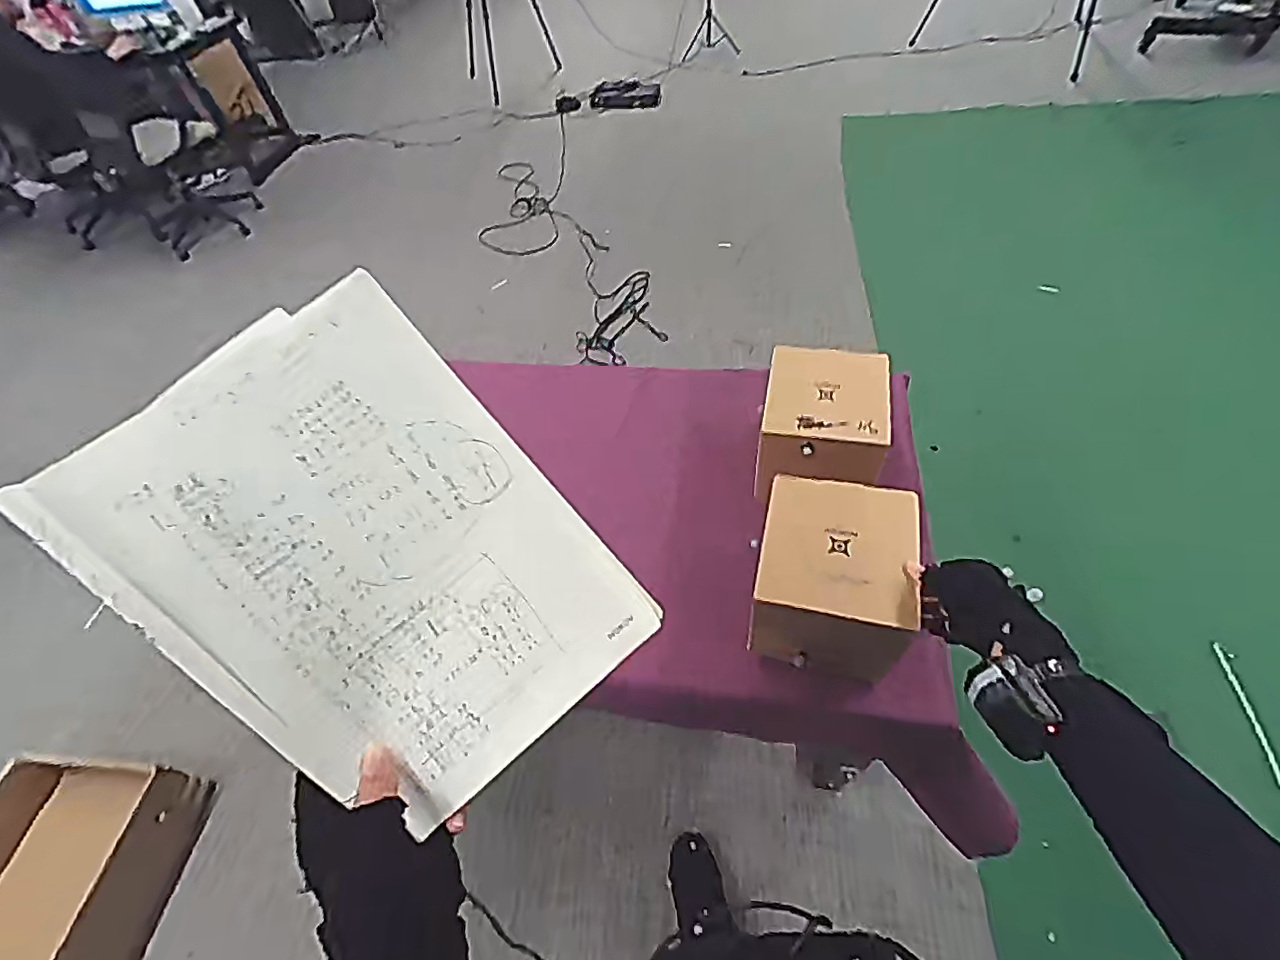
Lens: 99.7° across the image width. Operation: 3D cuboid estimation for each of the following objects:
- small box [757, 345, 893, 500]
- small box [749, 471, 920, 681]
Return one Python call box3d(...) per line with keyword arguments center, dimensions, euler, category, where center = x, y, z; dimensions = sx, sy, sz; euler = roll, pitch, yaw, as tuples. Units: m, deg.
box3d(center=(0.272, -0.076, 0.814), dimensions=(0.168, 0.176, 0.179), euler=(8, 55, 14), category="small box")
box3d(center=(0.229, 0.118, 0.661), dimensions=(0.168, 0.176, 0.179), euler=(9, 55, 15), category="small box")
